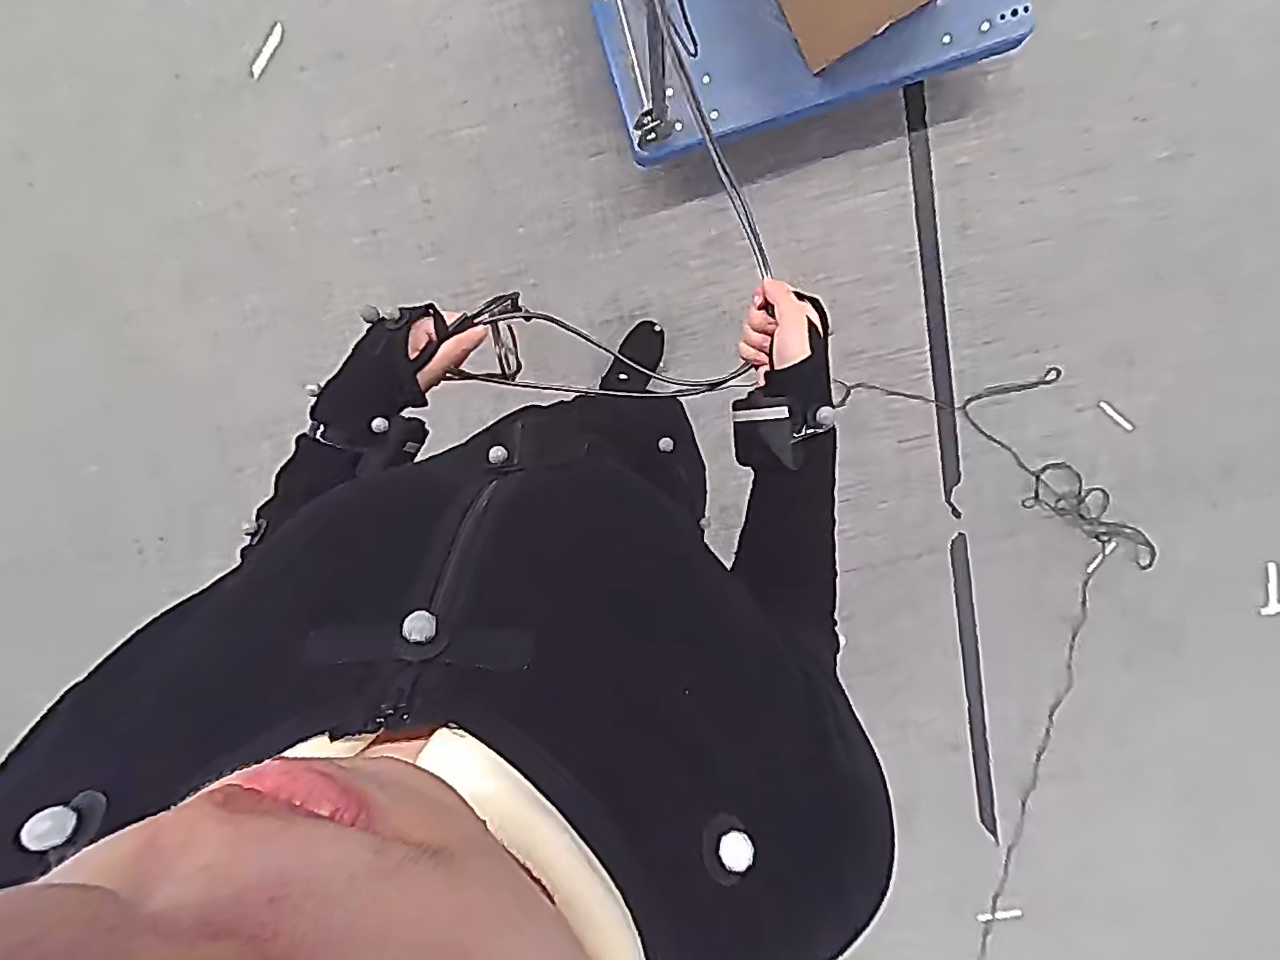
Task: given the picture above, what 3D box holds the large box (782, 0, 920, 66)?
[{"bbox_3d":[0.391,-1.067,0.932,0.320,0.320,0.408,-30,101,7],"label":"large box"}]
